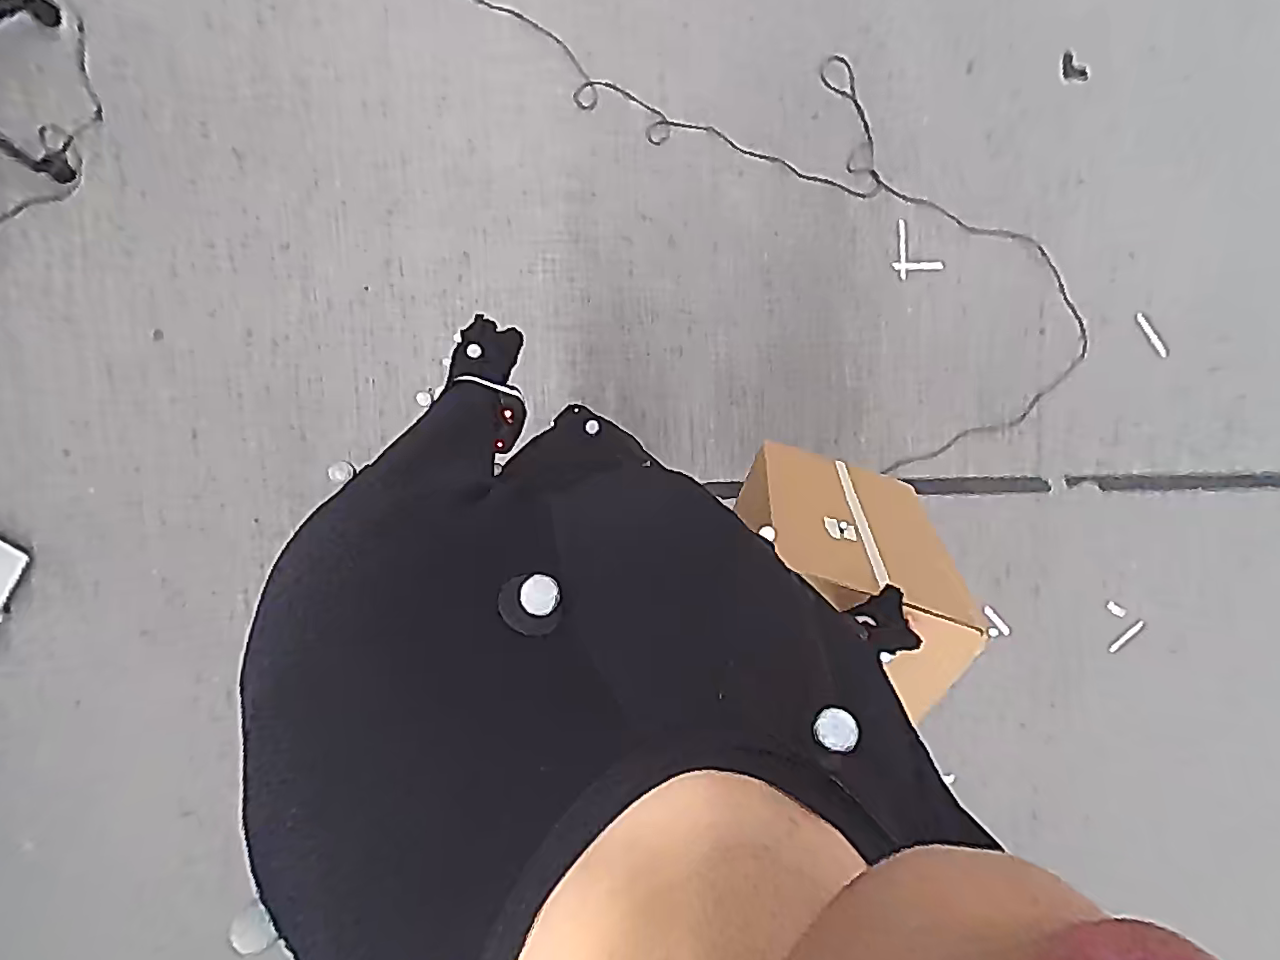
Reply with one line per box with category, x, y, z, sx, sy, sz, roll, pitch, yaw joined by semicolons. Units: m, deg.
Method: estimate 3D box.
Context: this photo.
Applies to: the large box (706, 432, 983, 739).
large box;0.316;0.172;0.985;0.320;0.408;0.320;16;123;-1
